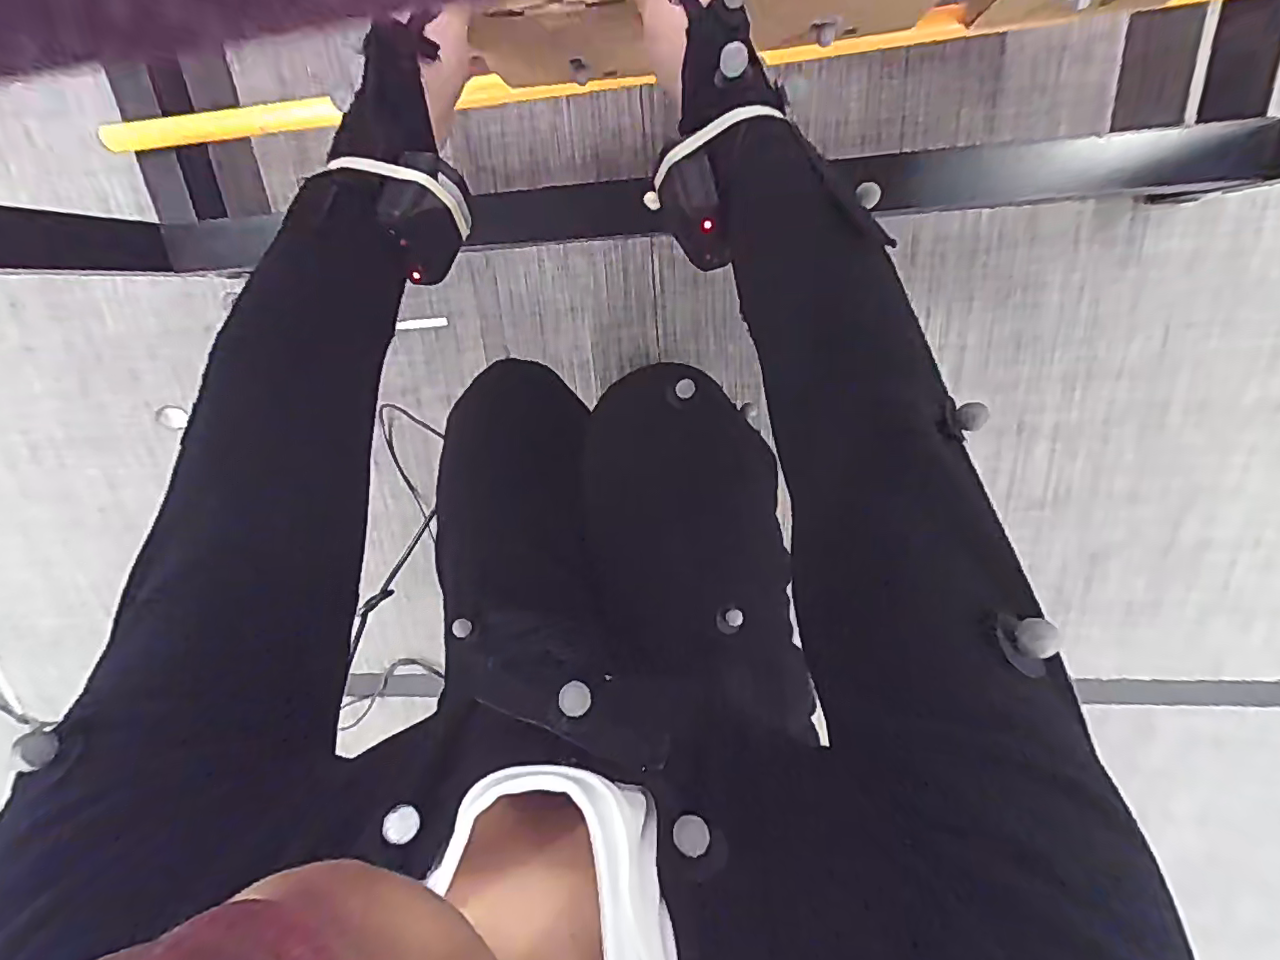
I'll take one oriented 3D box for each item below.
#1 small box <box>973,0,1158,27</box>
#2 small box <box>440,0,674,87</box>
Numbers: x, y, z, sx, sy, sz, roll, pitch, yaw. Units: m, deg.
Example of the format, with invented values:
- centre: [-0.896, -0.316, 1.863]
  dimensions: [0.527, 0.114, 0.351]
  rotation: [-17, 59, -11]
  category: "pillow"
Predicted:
- centre: [0.360, -0.463, 0.374]
  dimensions: [0.168, 0.176, 0.179]
  rotation: [-2, 111, 7]
  category: "small box"
- centre: [-0.058, -0.439, 0.417]
  dimensions: [0.168, 0.176, 0.179]
  rotation: [-1, 111, 6]
  category: "small box"
